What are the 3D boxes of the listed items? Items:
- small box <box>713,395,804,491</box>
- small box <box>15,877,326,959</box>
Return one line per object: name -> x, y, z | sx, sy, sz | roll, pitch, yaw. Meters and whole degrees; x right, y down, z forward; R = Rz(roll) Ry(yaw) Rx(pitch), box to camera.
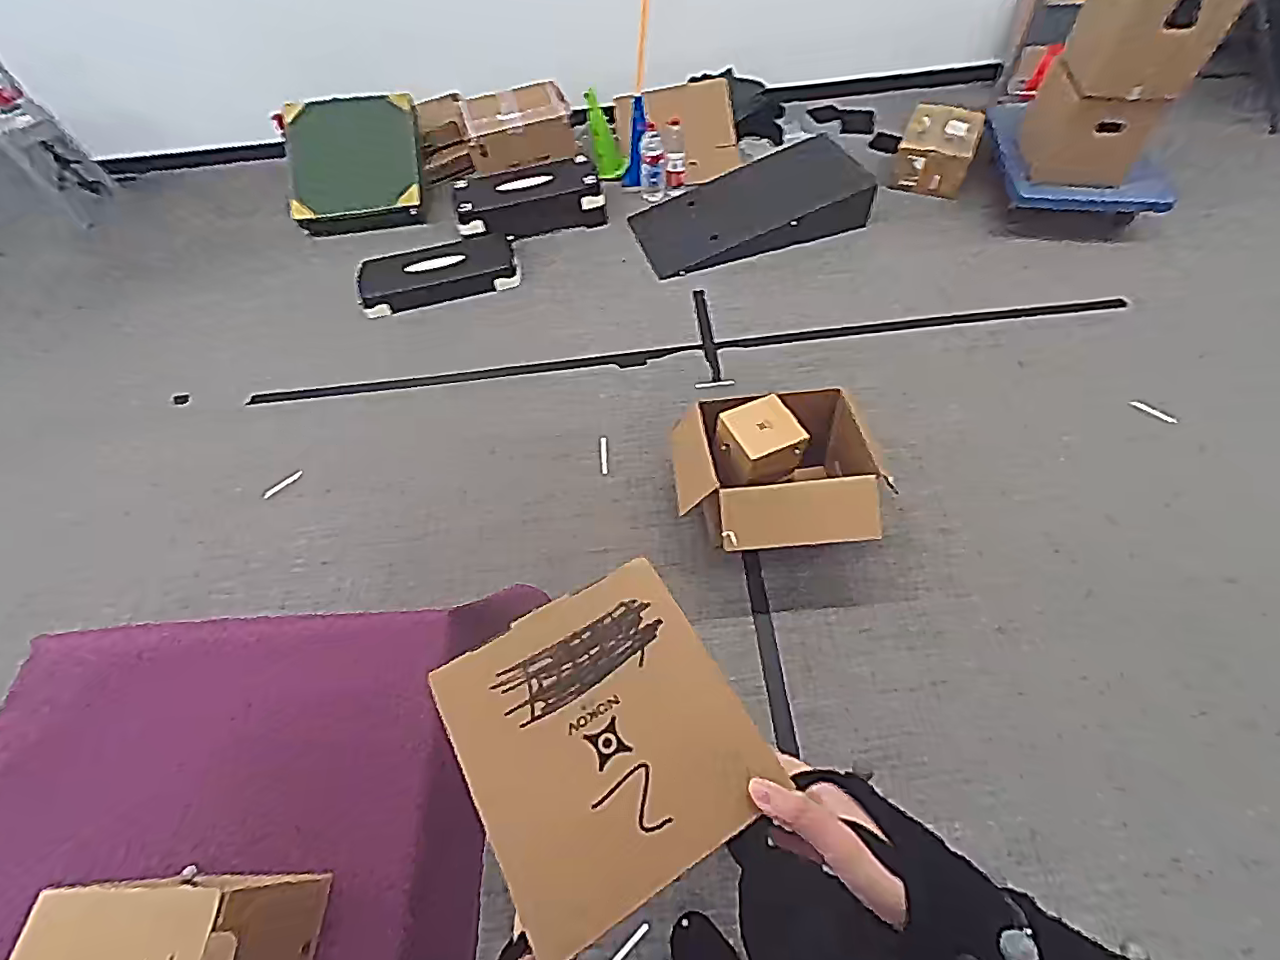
small box -> 0.311, -0.095, 1.466 | 0.179, 0.176, 0.168 | -22, 60, -15
small box -> -0.430, 0.471, 0.495 | 0.179, 0.176, 0.168 | -3, 56, 3
